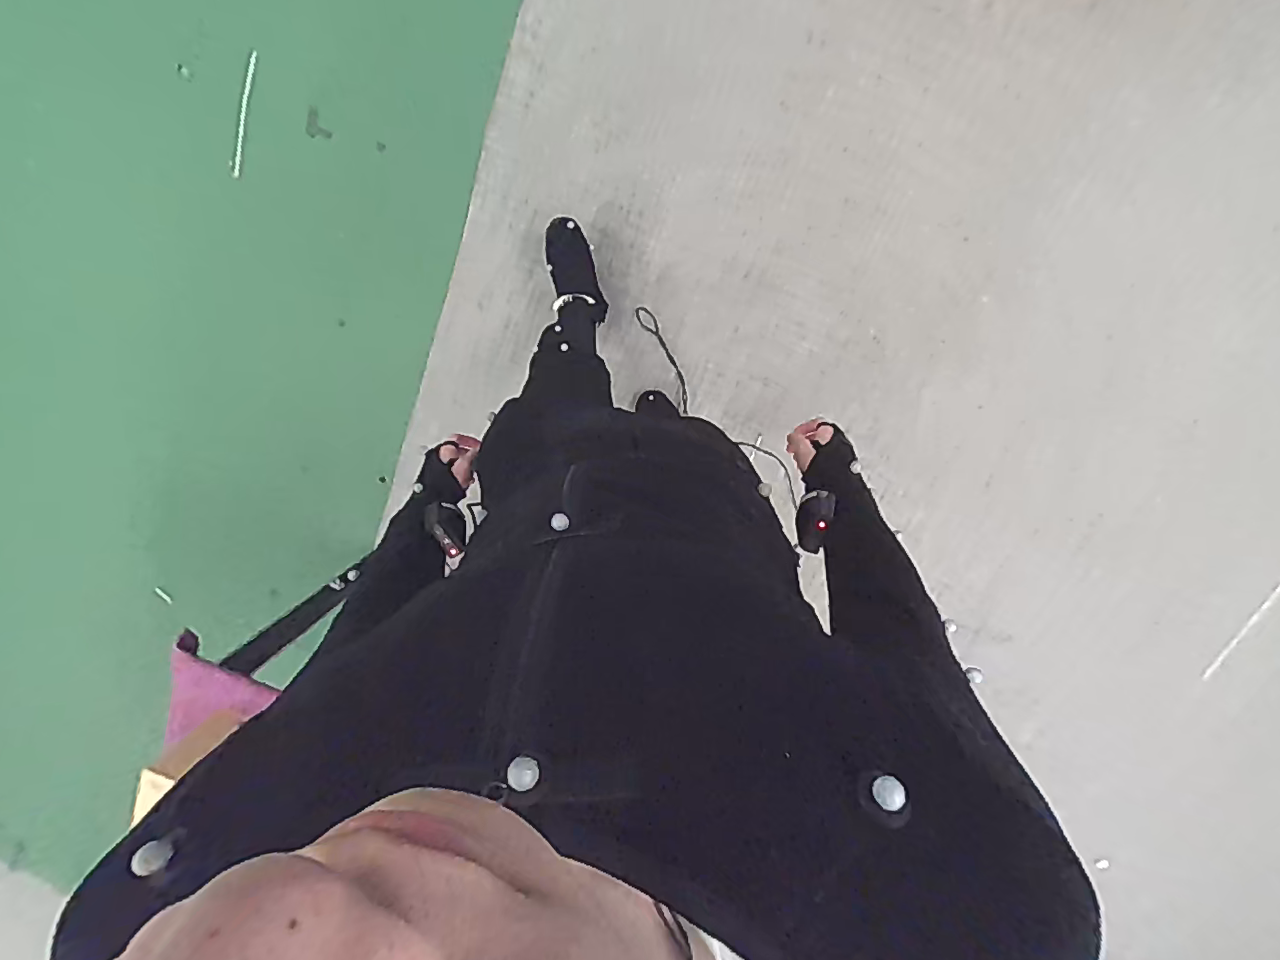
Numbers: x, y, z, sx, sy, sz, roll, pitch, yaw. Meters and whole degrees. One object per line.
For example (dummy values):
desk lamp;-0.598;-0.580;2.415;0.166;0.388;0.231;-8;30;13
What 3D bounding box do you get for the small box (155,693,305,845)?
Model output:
small box;-0.810;0.570;1.082;0.168;0.176;0.179;23;108;-2
